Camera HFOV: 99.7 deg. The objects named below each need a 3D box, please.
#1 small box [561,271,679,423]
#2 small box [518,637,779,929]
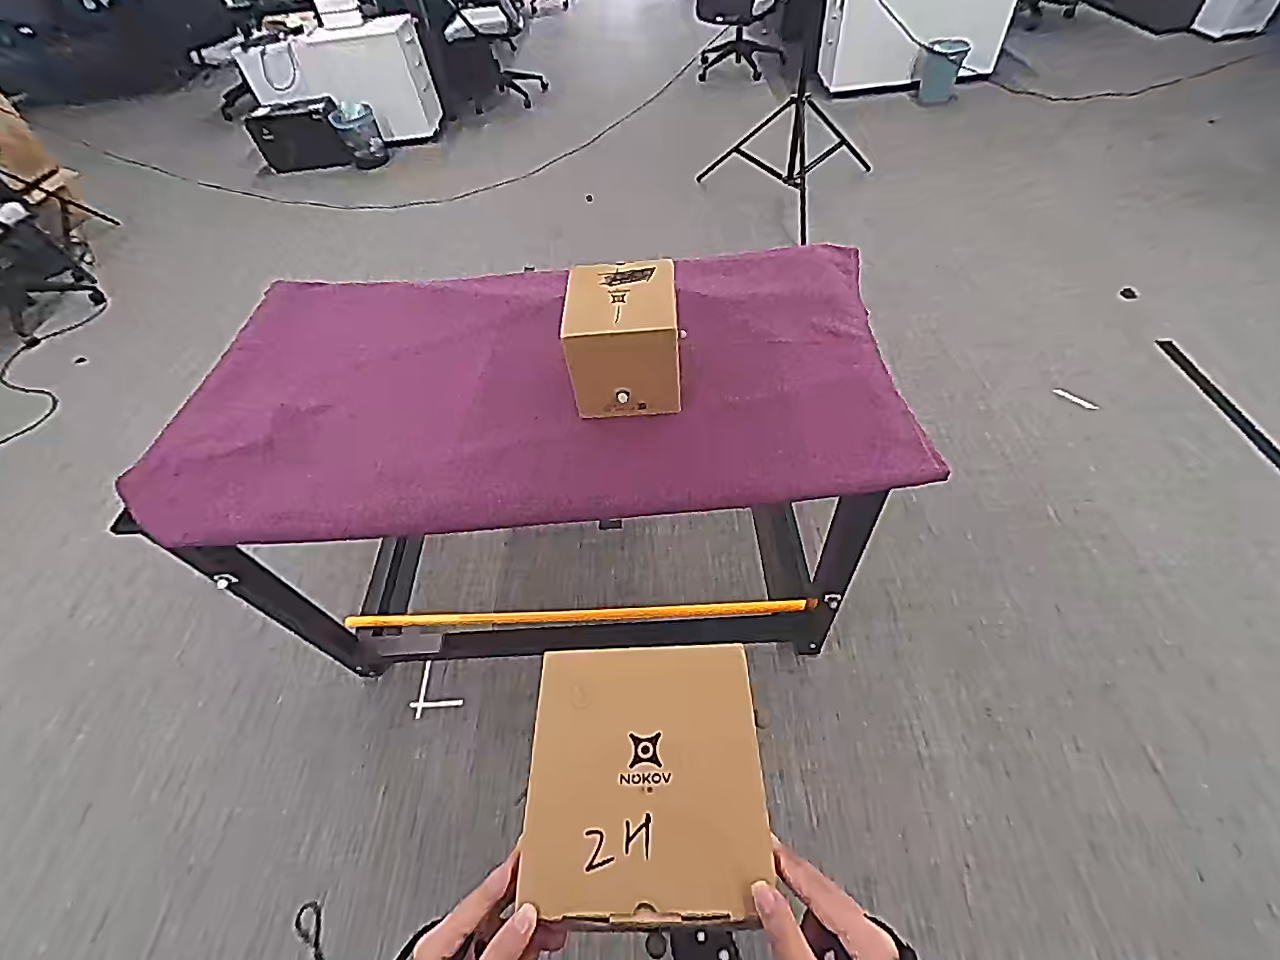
[{"bbox_3d":[-0.023,-0.213,0.875,0.168,0.176,0.179,-3,52,5],"label":"small box"},{"bbox_3d":[0.012,0.249,0.447,0.168,0.176,0.179,-4,47,4],"label":"small box"}]
